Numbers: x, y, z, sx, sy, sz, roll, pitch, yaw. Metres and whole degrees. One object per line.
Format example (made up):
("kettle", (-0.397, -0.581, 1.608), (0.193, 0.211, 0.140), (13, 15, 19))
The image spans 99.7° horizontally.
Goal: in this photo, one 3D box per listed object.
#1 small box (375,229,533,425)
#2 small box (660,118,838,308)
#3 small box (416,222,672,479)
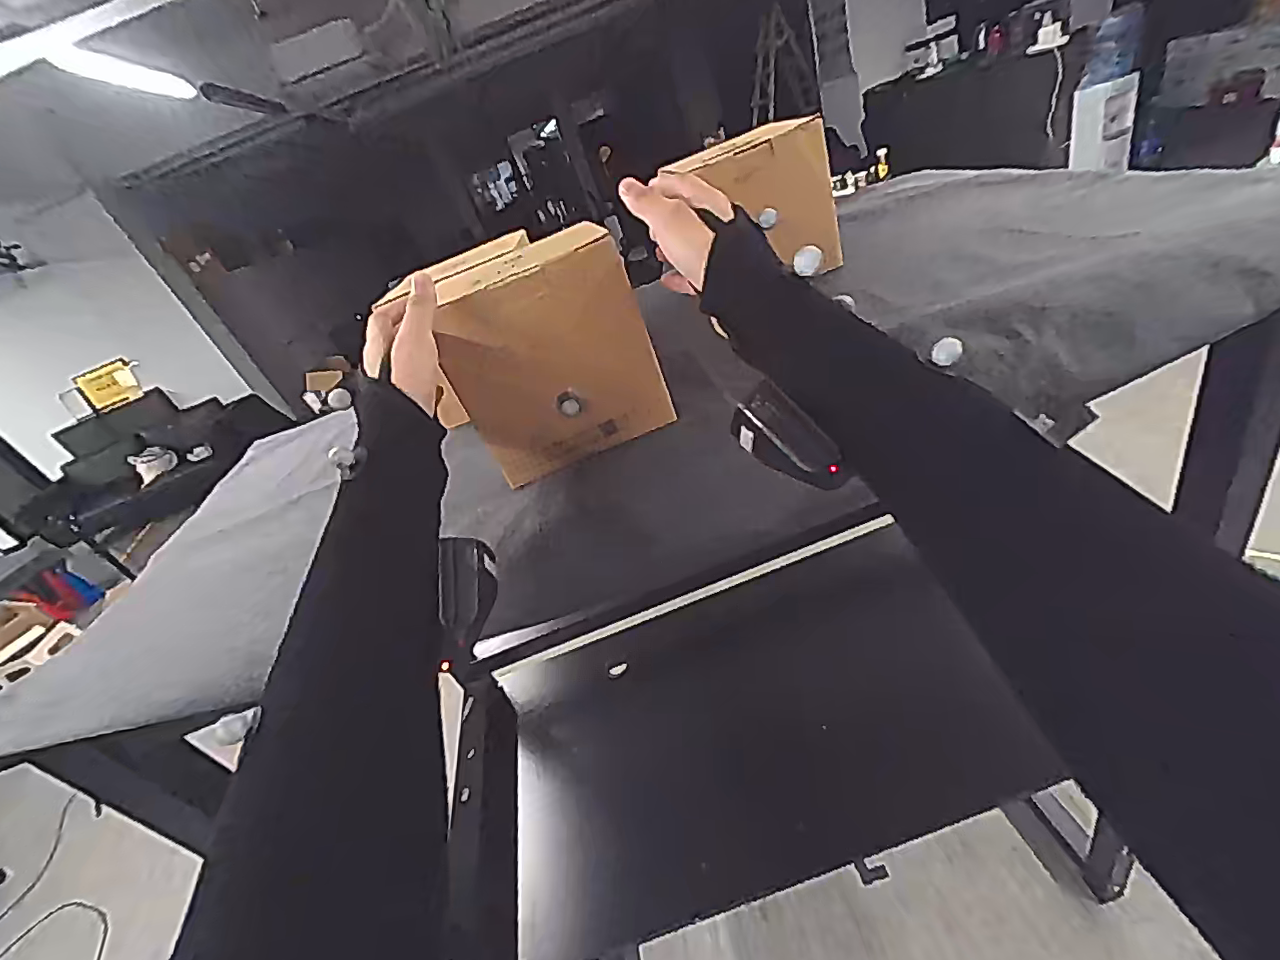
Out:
("small box", (-0.195, -0.198, 0.700), (0.179, 0.176, 0.168), (-19, 32, 6))
("small box", (0.140, -0.343, 0.707), (0.168, 0.176, 0.179), (-20, 31, 4))
("small box", (-0.084, -0.128, 0.520), (0.168, 0.176, 0.179), (-23, 31, 0))
